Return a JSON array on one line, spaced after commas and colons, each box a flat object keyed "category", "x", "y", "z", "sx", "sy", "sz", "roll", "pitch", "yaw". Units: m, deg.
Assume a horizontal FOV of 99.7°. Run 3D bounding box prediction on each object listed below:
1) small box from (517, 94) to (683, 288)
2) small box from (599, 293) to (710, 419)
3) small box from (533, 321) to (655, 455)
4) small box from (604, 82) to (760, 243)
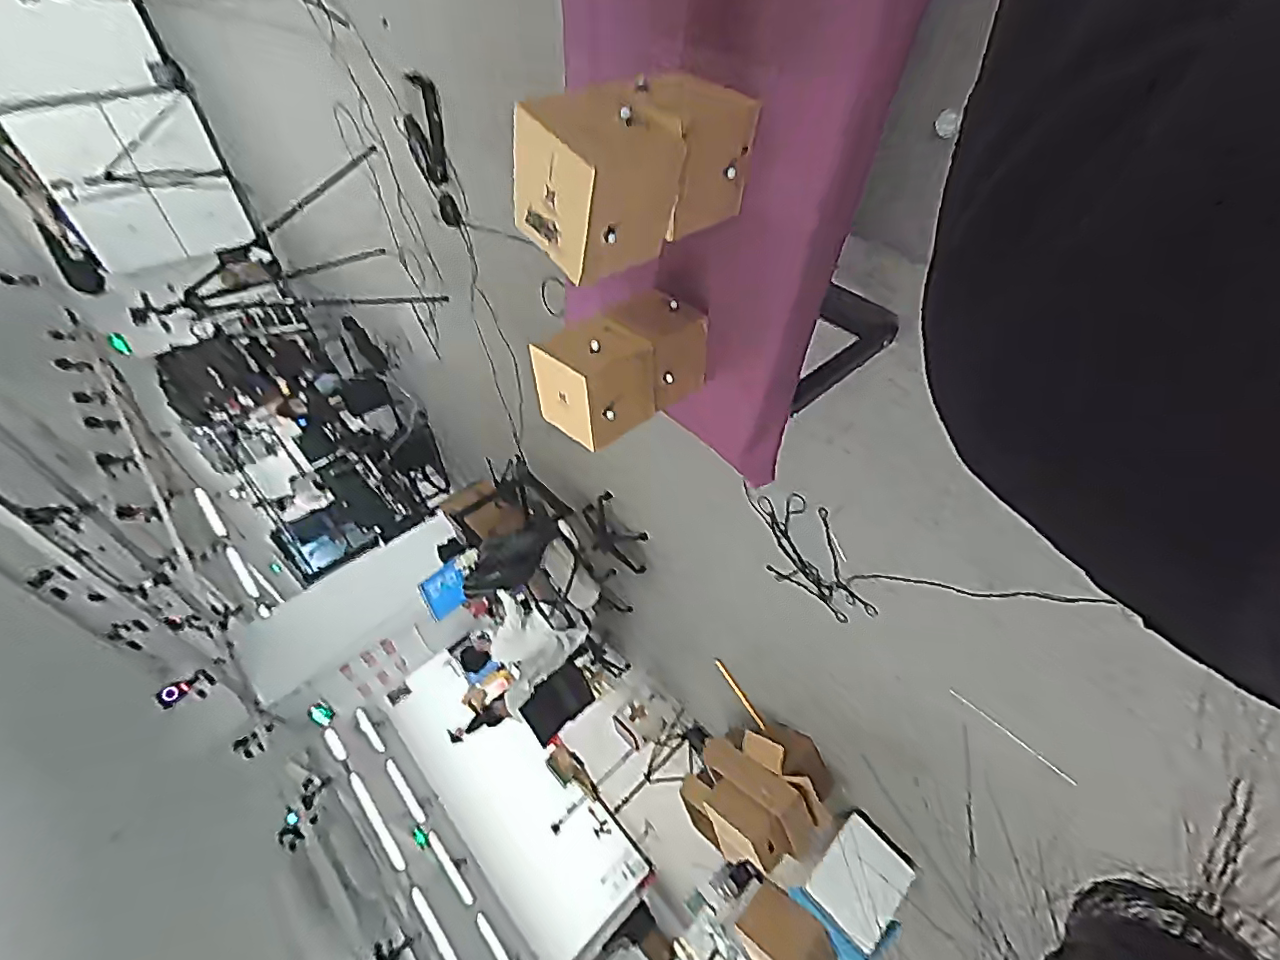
[{"category": "small box", "x": -0.061, "y": -0.419, "z": 0.786, "sx": 0.168, "sy": 0.176, "sz": 0.179, "roll": 47, "pitch": 150, "yaw": 17}, {"category": "small box", "x": 0.032, "y": -0.267, "z": 1.146, "sx": 0.168, "sy": 0.176, "sz": 0.179, "roll": 36, "pitch": 145, "yaw": 31}, {"category": "small box", "x": -0.082, "y": -0.188, "z": 1.063, "sx": 0.168, "sy": 0.176, "sz": 0.179, "roll": 34, "pitch": 145, "yaw": 32}, {"category": "small box", "x": 0.058, "y": -0.509, "z": 0.857, "sx": 0.179, "sy": 0.176, "sz": 0.168, "roll": 41, "pitch": 148, "yaw": 26}]
